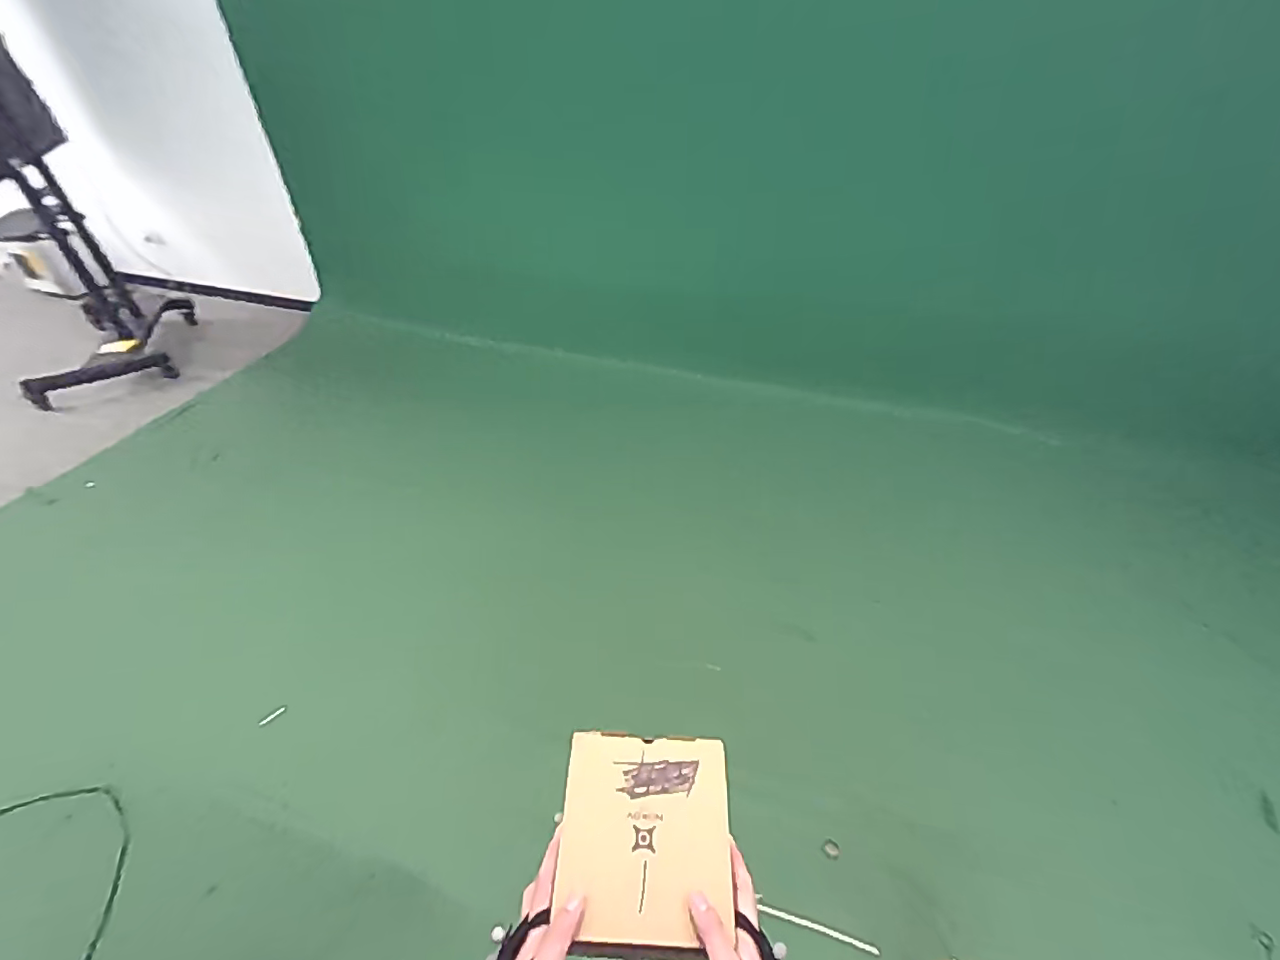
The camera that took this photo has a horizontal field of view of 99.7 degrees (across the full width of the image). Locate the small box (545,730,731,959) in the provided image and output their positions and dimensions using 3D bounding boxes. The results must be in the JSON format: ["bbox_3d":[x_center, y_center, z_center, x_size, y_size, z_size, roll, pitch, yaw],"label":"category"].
[{"bbox_3d":[-0.001,0.394,0.581,0.168,0.176,0.179,3,45,1],"label":"small box"}]
